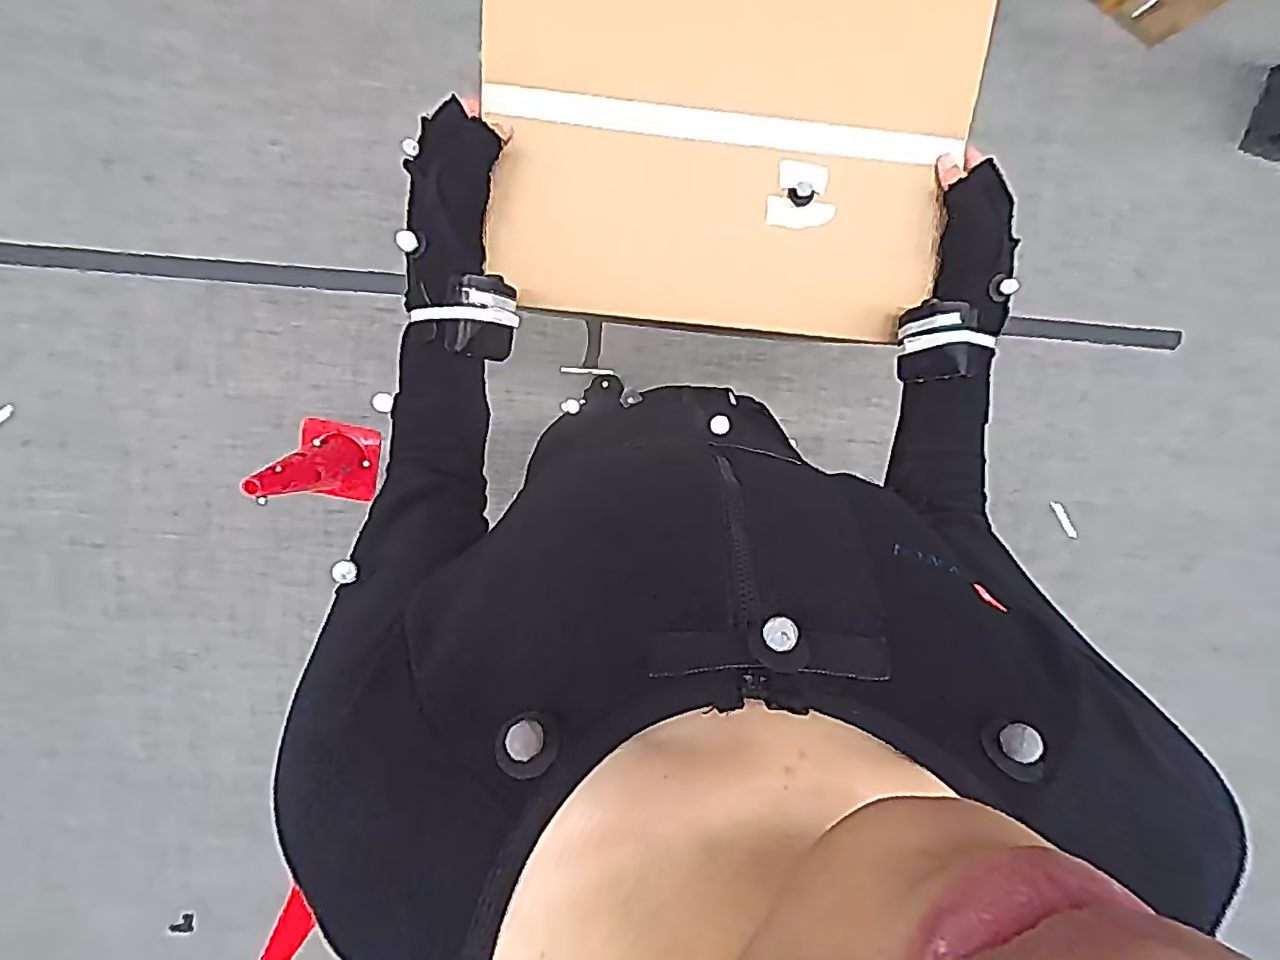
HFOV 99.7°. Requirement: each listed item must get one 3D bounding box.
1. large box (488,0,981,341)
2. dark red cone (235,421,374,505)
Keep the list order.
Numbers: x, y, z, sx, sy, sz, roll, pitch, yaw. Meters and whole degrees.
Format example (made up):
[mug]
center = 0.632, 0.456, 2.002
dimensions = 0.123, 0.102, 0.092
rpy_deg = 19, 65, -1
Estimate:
[large box]
center = 0.064, -0.329, 0.601
dimensions = 0.408, 0.320, 0.320
rpy_deg = 5, 105, -5
[dark red cone]
center = -0.784, -0.015, 1.240
dimensions = 0.201, 0.394, 0.202
rpy_deg = 9, 100, -6
